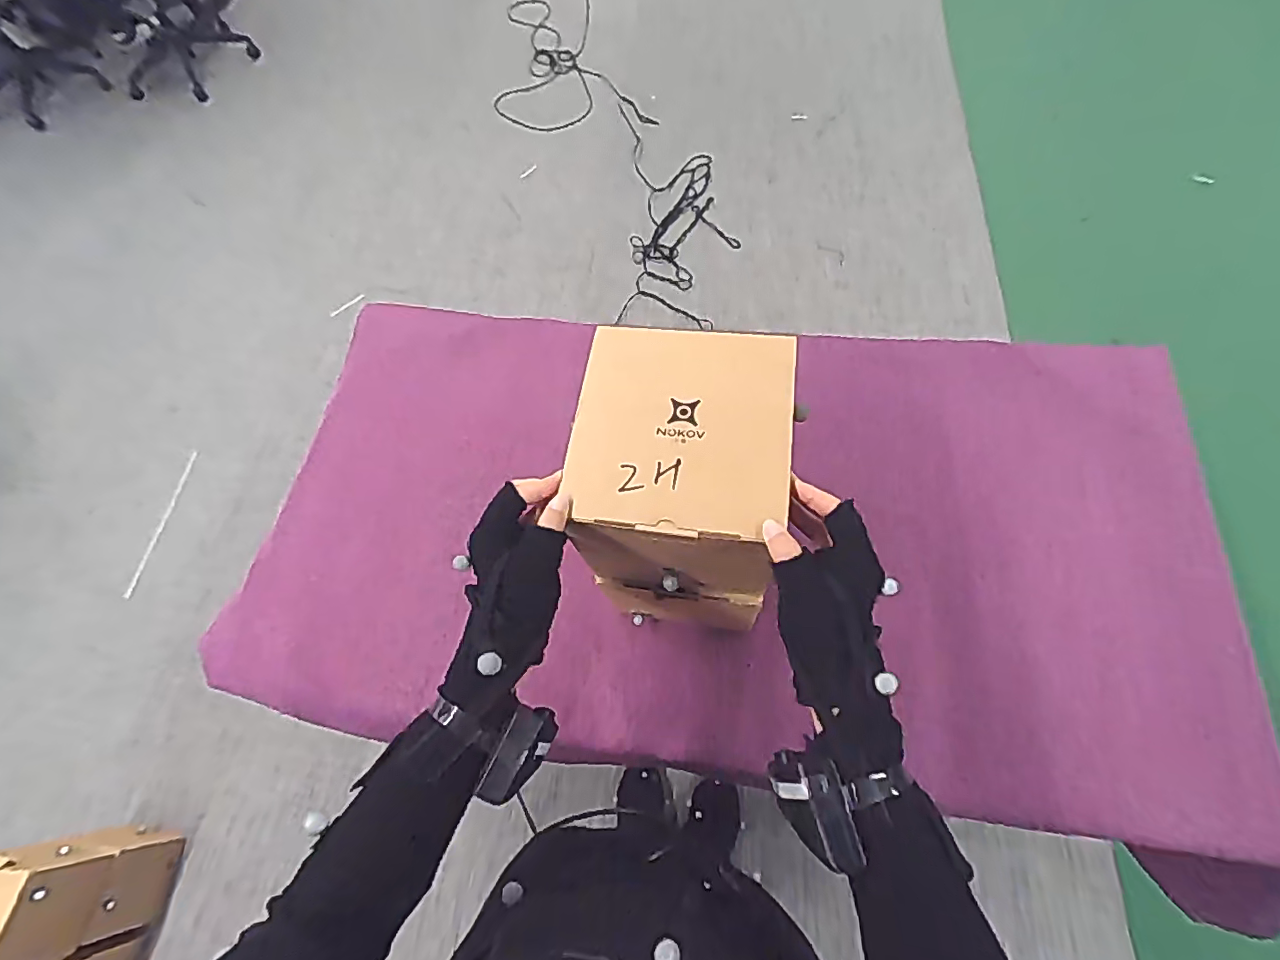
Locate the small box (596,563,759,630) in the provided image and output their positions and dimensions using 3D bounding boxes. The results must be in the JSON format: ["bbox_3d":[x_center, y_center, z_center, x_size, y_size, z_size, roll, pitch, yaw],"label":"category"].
[{"bbox_3d":[0.058,0.068,0.634,0.168,0.176,0.179,6,65,10],"label":"small box"}]

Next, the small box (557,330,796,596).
[{"bbox_3d":[0.040,-0.008,0.490,0.168,0.176,0.179,7,67,10],"label":"small box"}]
